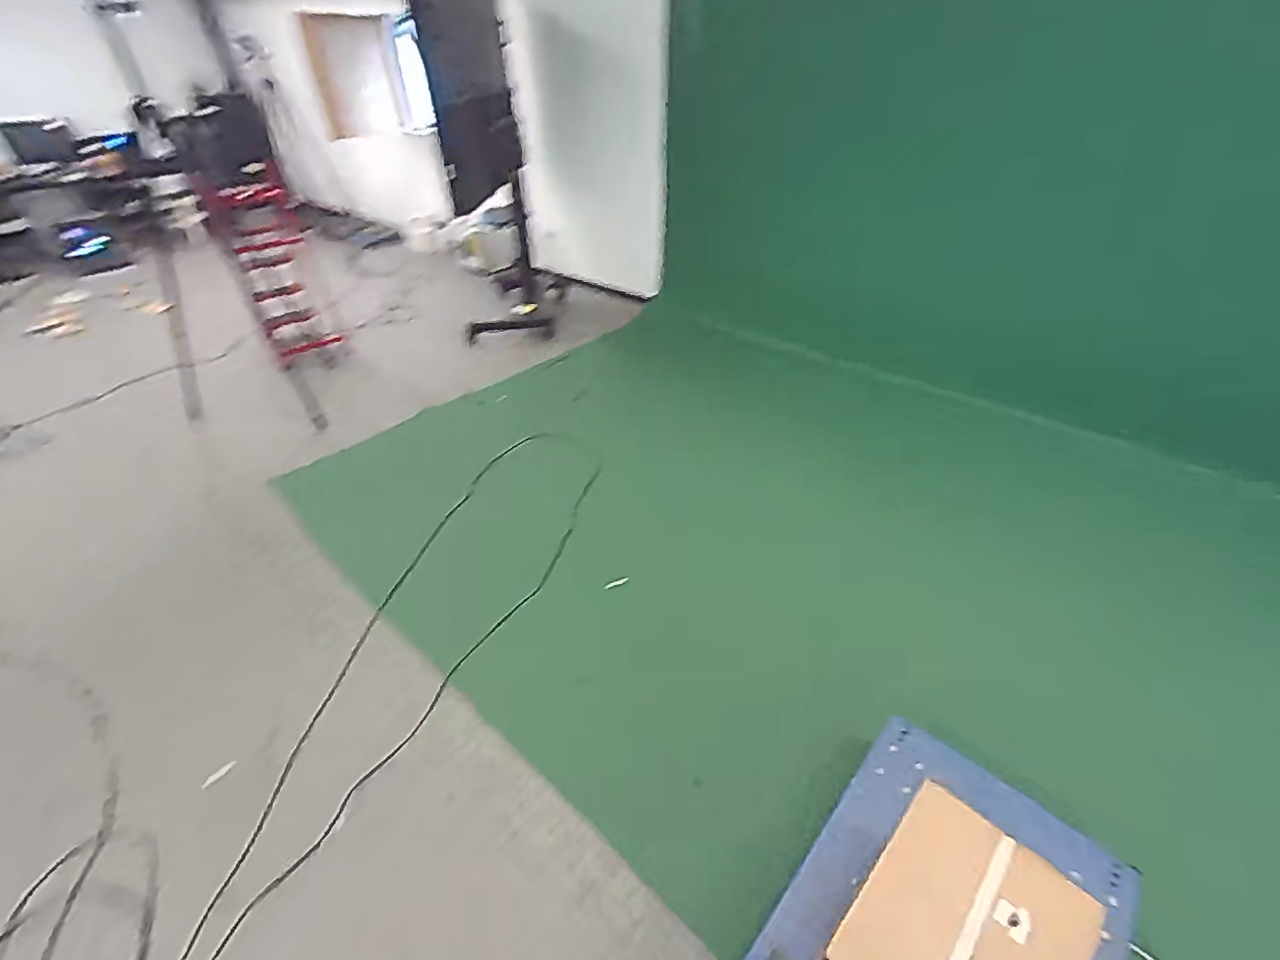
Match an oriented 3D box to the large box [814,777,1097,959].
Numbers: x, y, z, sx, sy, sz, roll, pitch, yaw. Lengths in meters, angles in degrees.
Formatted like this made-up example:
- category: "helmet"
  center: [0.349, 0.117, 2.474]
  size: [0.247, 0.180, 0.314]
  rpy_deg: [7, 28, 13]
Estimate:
- category: "large box"
  center: [0.548, 0.875, 0.999]
  size: [0.408, 0.320, 0.320]
  rpy_deg: [-30, 47, -34]
